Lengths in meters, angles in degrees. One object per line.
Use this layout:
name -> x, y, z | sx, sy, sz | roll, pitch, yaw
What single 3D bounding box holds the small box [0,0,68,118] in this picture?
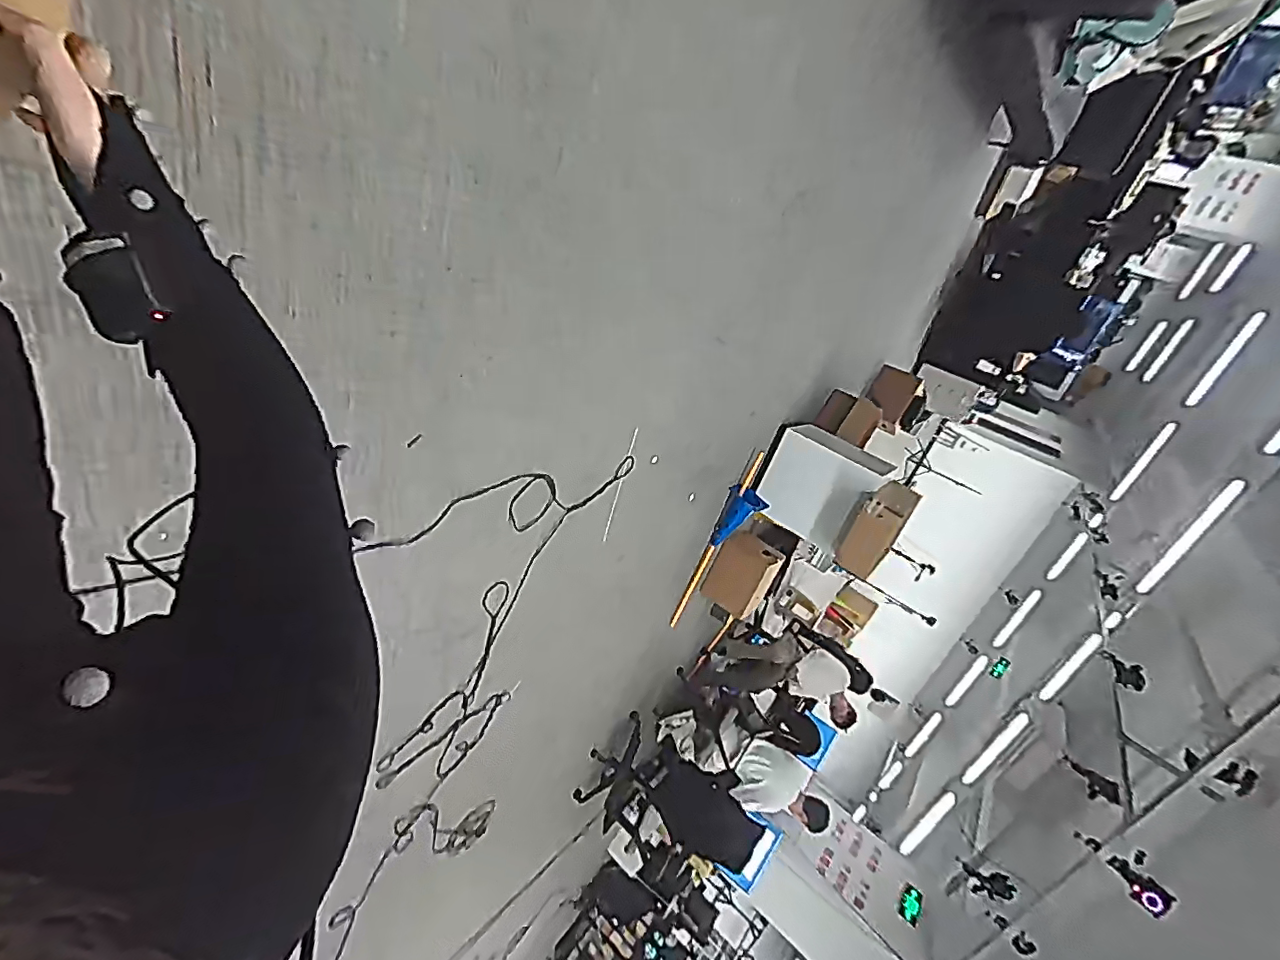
small box -> -0.511, -0.375, 0.349 | 0.168, 0.176, 0.179 | 12, 80, -62
